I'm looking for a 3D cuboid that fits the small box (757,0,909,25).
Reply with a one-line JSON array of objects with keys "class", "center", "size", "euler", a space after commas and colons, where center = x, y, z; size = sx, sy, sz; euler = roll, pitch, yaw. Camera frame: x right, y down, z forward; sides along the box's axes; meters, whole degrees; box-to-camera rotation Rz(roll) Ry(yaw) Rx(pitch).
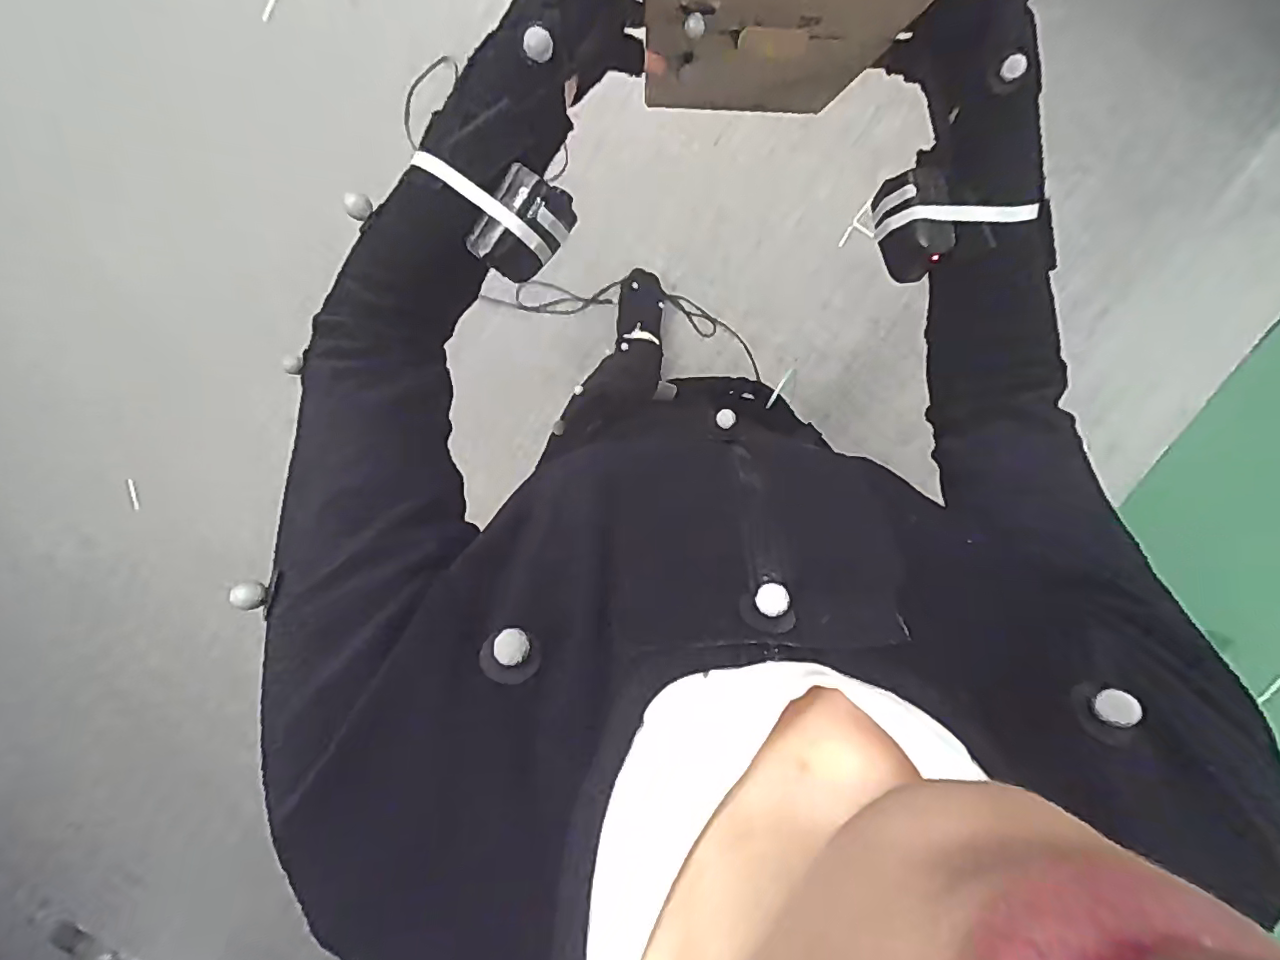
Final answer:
[{"class": "small box", "center": [0.090, -0.341, 0.235], "size": [0.168, 0.176, 0.179], "euler": [5, 111, -4]}]
